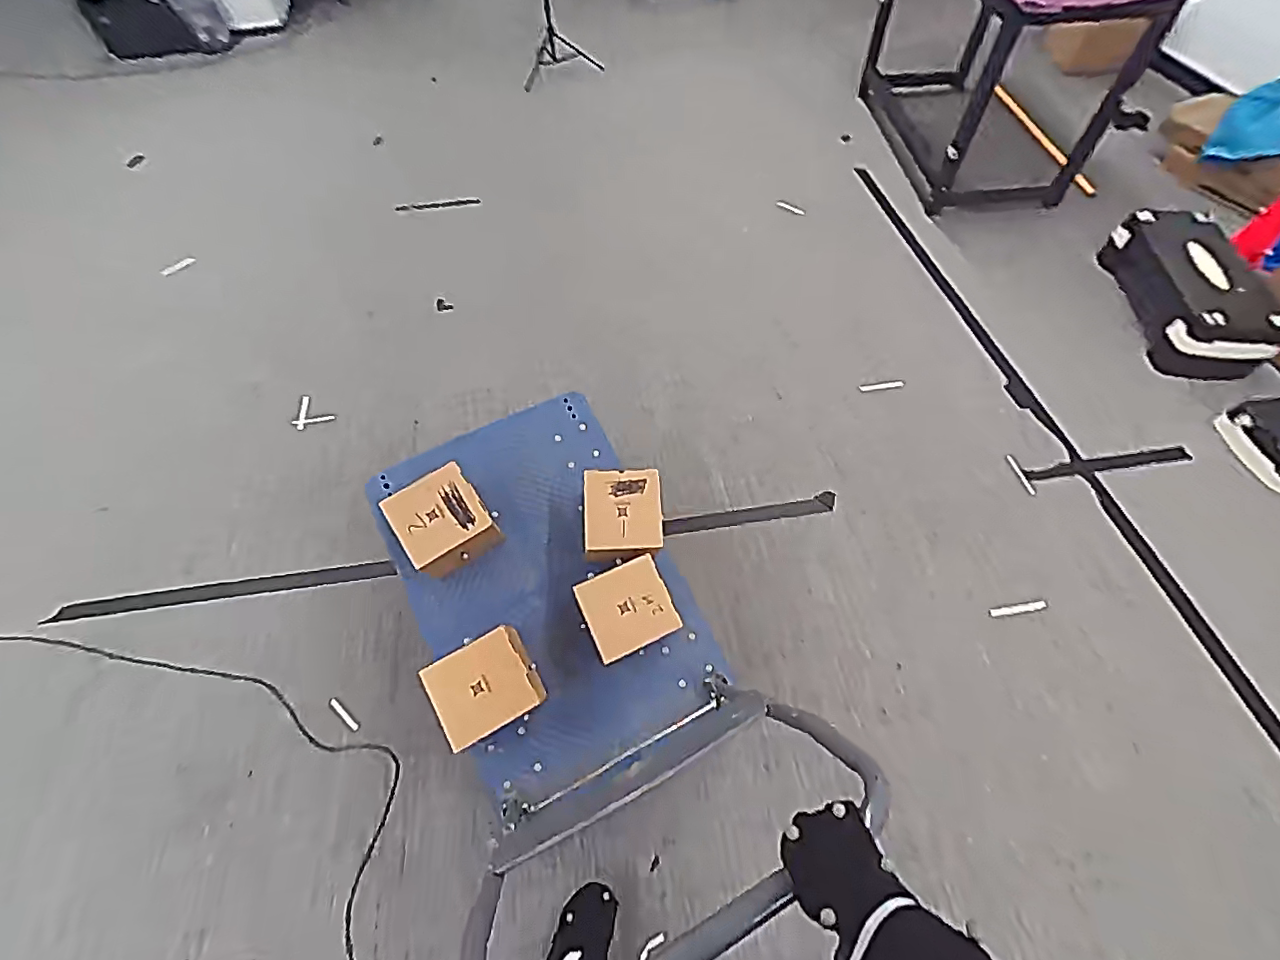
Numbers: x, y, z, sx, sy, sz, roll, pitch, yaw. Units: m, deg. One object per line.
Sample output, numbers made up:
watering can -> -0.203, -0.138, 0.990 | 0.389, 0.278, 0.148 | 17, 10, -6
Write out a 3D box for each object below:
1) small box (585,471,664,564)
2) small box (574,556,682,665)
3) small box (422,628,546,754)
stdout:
small box -> -0.041, 0.089, 1.224 | 0.168, 0.176, 0.179 | -1, 73, -5
small box -> -0.029, 0.284, 1.163 | 0.179, 0.176, 0.168 | -23, 76, -11
small box -> -0.306, 0.421, 1.096 | 0.179, 0.176, 0.168 | -28, 77, -14
